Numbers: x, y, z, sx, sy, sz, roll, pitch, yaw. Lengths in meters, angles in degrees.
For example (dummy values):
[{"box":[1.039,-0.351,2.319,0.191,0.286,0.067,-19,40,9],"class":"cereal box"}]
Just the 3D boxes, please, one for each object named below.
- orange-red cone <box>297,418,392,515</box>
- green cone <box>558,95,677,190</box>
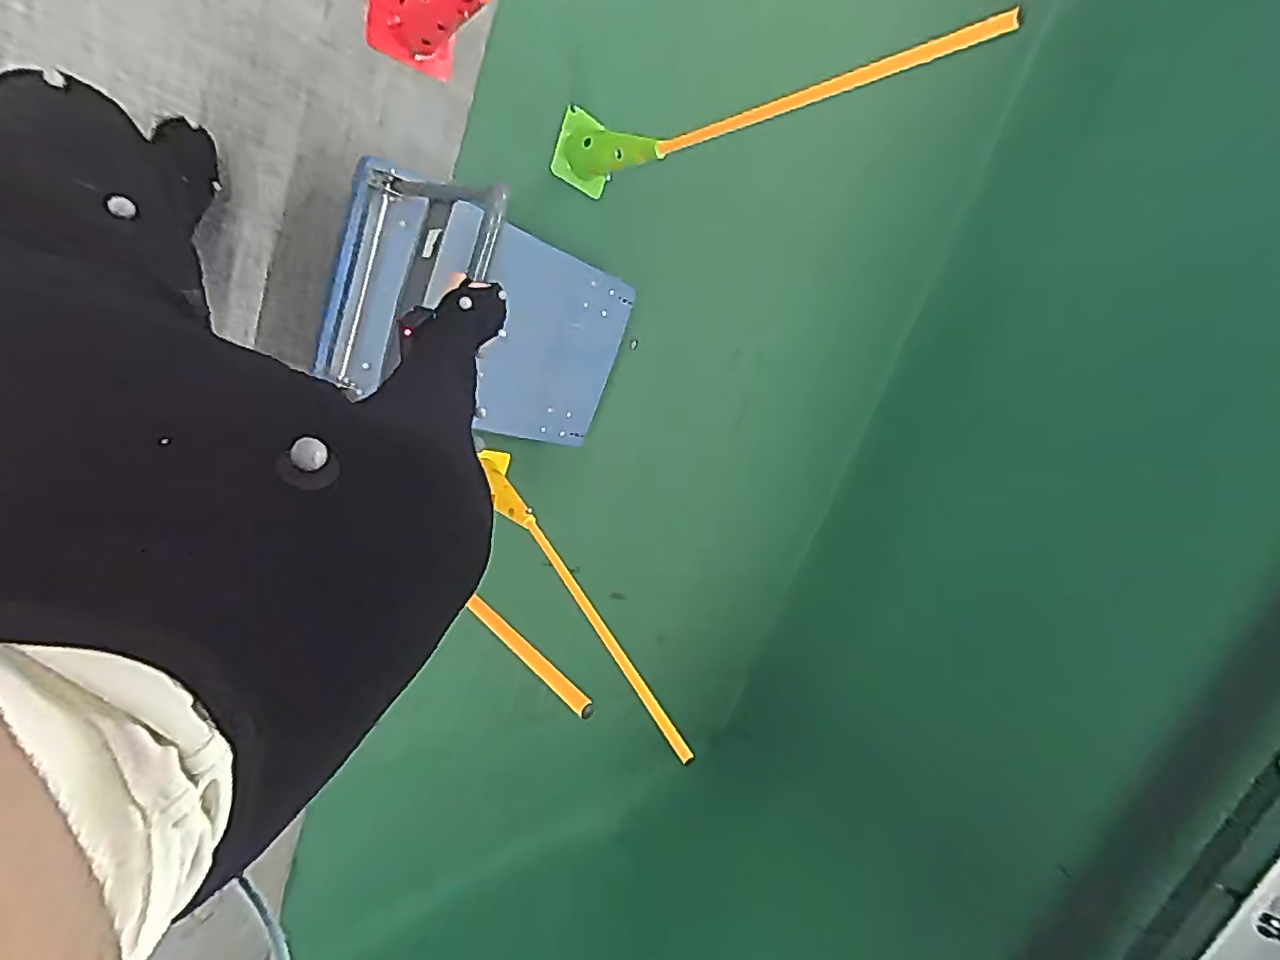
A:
[{"box":[-0.742,-0.005,1.438,0.199,0.360,0.198,5,111,-48],"class":"orange-red cone"},{"box":[-0.038,-0.958,1.542,0.202,0.368,0.200,6,109,-47],"class":"green cone"}]
